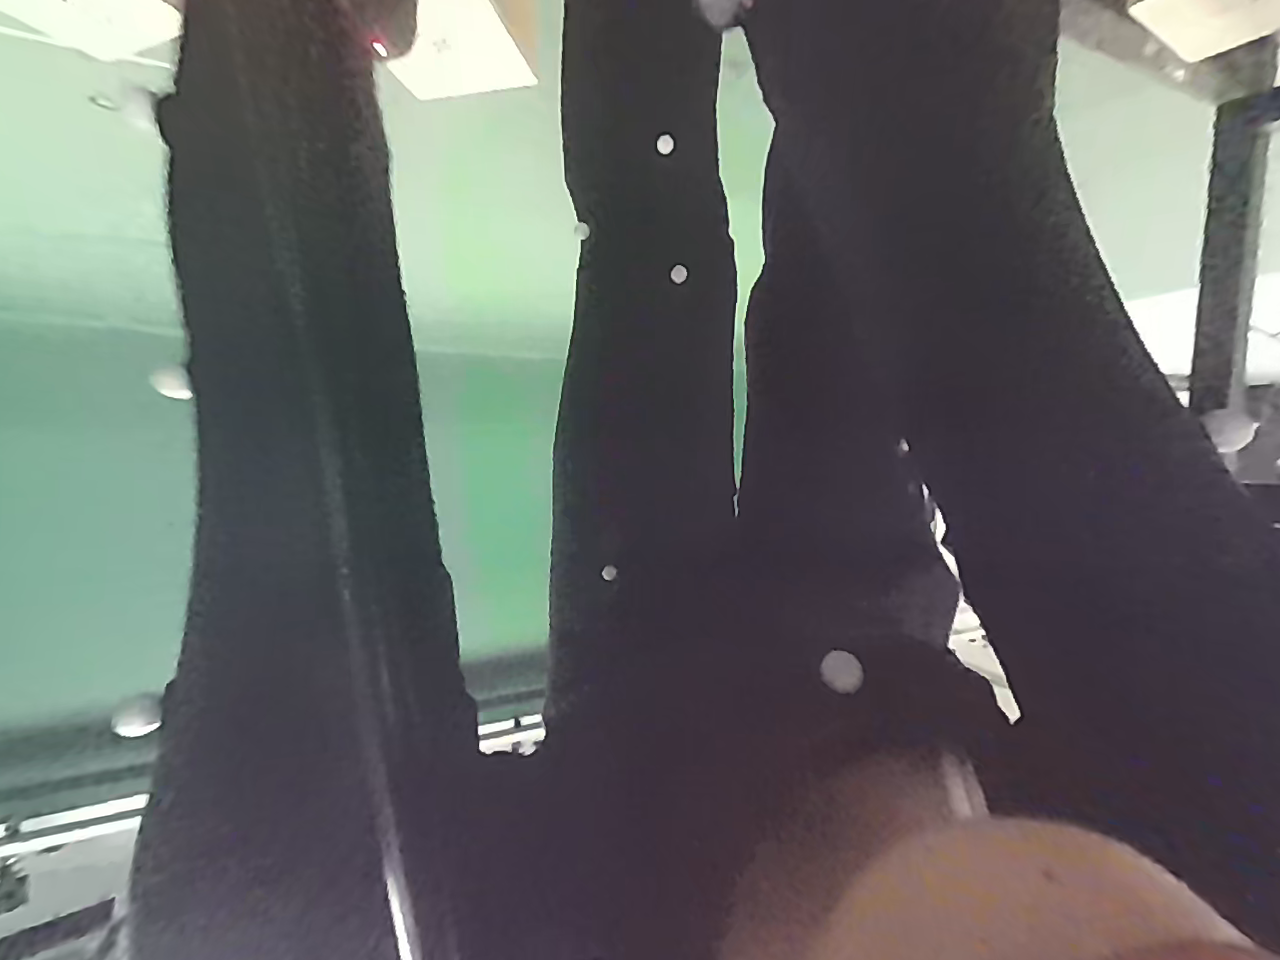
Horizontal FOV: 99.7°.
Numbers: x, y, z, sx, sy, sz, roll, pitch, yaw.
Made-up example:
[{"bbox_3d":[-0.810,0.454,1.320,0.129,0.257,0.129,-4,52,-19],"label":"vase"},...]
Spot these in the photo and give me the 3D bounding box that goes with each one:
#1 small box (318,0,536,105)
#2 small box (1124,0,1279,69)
[{"bbox_3d":[-0.219,-0.553,0.588,0.168,0.176,0.179,1,-176,12],"label":"small box"},{"bbox_3d":[0.598,-0.546,0.504,0.168,0.176,0.179,-2,-174,-29],"label":"small box"}]
